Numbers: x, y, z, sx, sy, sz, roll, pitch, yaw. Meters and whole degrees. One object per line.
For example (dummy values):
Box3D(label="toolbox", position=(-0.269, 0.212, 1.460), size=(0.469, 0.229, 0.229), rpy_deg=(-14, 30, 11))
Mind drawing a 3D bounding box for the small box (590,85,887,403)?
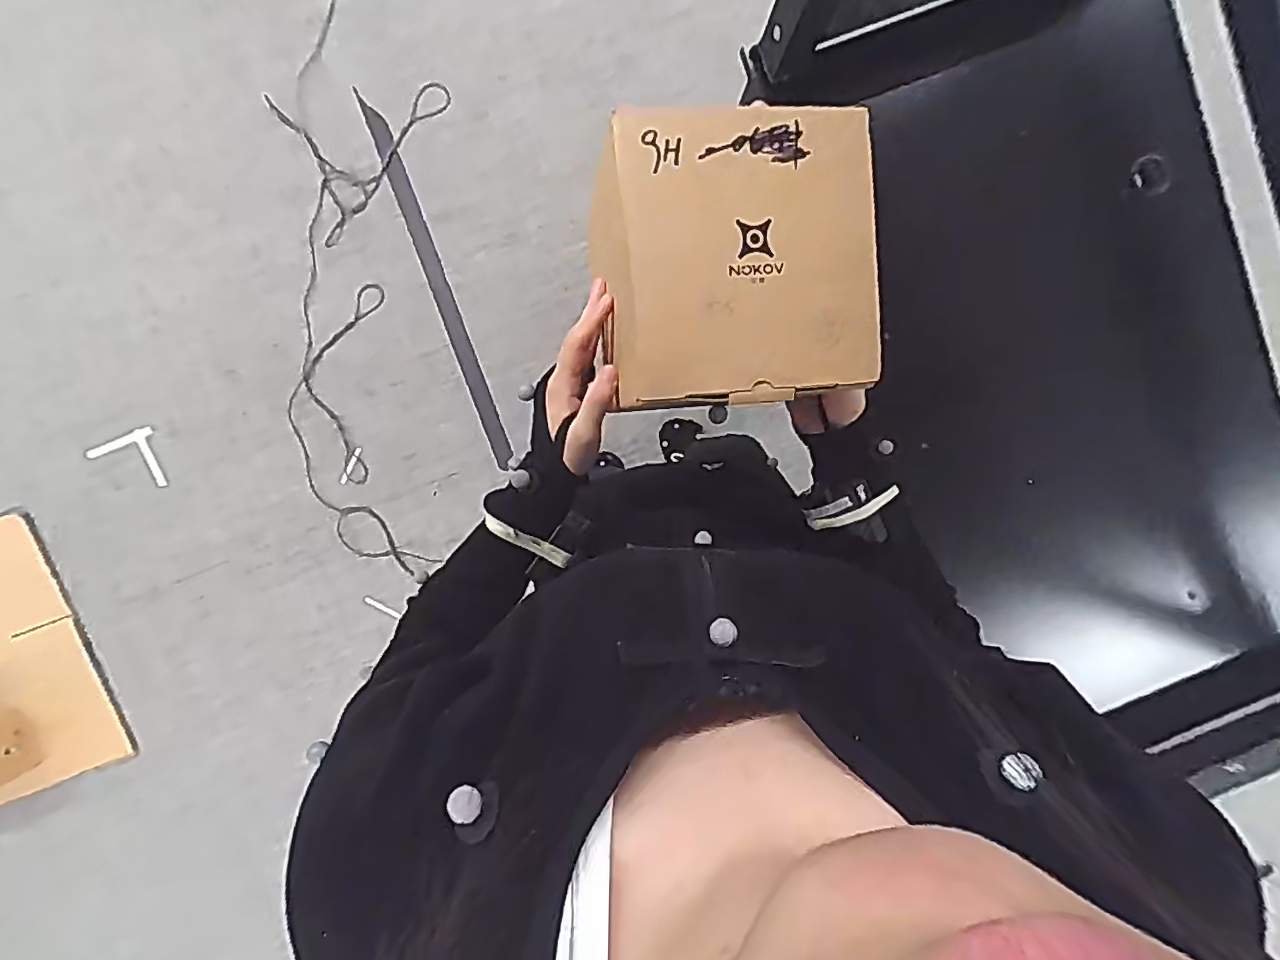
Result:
Box3D(label="small box", position=(0.058, -0.150, 0.402), size=(0.168, 0.176, 0.179), rpy_deg=(-6, 97, -11))
